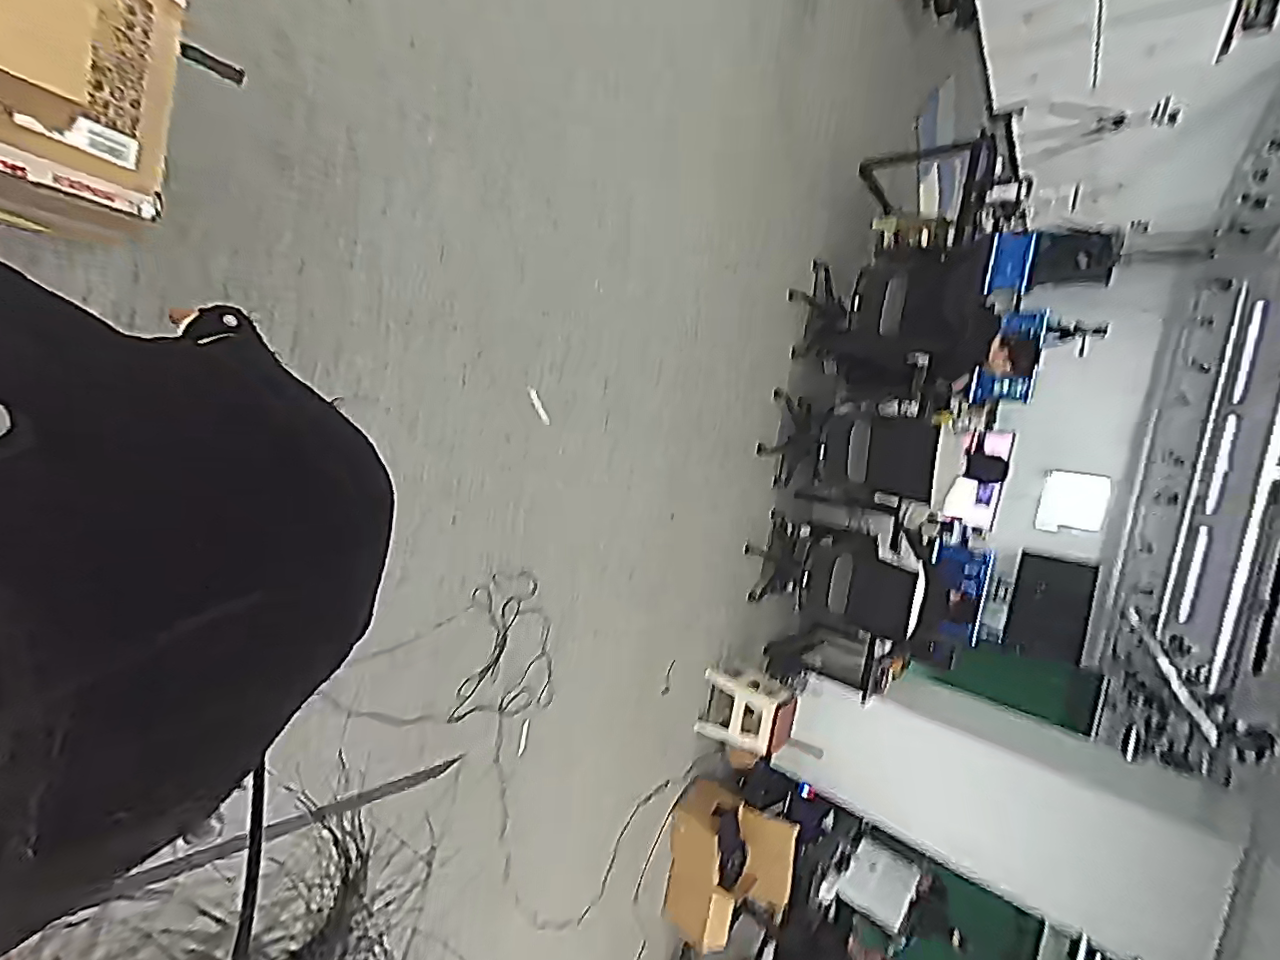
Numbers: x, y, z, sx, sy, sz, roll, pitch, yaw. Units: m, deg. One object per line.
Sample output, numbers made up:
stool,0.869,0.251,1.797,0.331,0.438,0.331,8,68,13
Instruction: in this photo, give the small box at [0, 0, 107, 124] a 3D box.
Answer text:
small box,-0.682,-0.512,0.560,0.168,0.176,0.179,6,99,-52
